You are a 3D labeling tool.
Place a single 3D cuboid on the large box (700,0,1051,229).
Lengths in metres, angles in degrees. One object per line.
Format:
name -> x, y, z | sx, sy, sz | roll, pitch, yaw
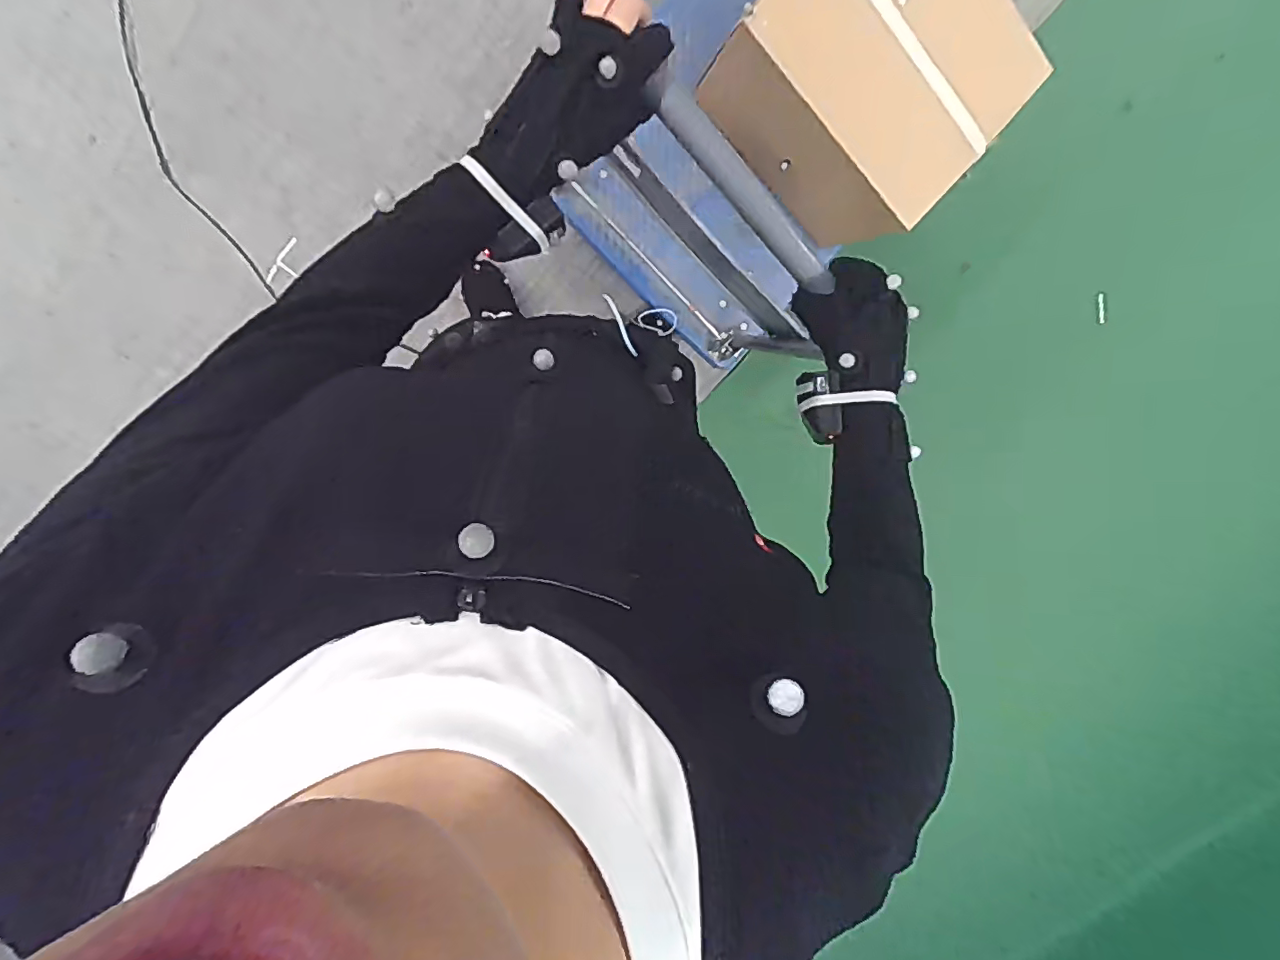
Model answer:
large box -> 0.374, -0.713, 0.941 | 0.408, 0.320, 0.320 | 38, 99, -18
